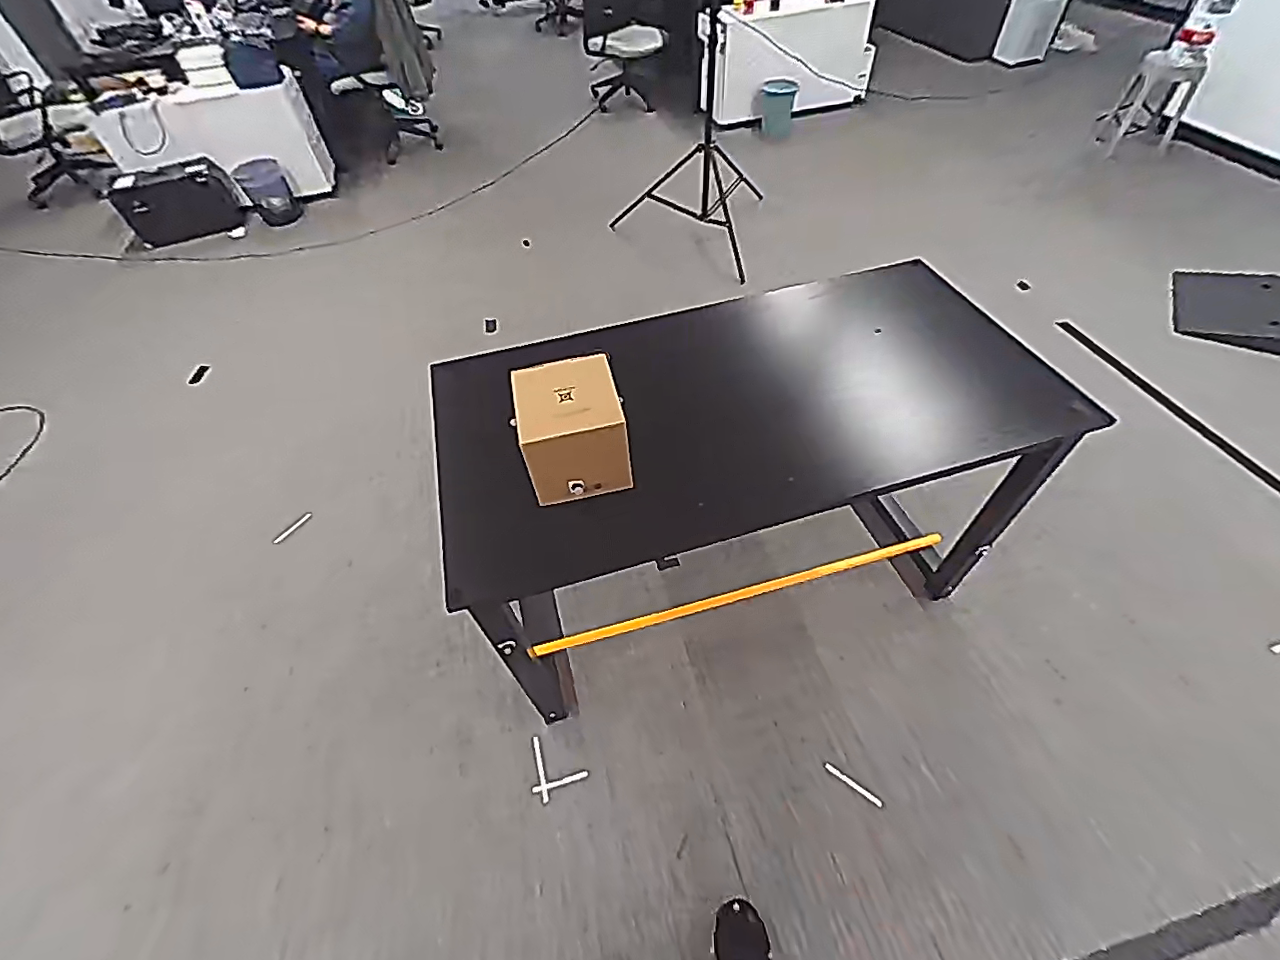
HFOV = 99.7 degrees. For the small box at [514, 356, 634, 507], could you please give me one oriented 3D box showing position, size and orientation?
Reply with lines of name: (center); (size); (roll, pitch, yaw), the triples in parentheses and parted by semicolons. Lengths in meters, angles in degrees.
small box: (-0.111, -0.082, 0.928); (0.168, 0.176, 0.179); (-13, 53, -5)
